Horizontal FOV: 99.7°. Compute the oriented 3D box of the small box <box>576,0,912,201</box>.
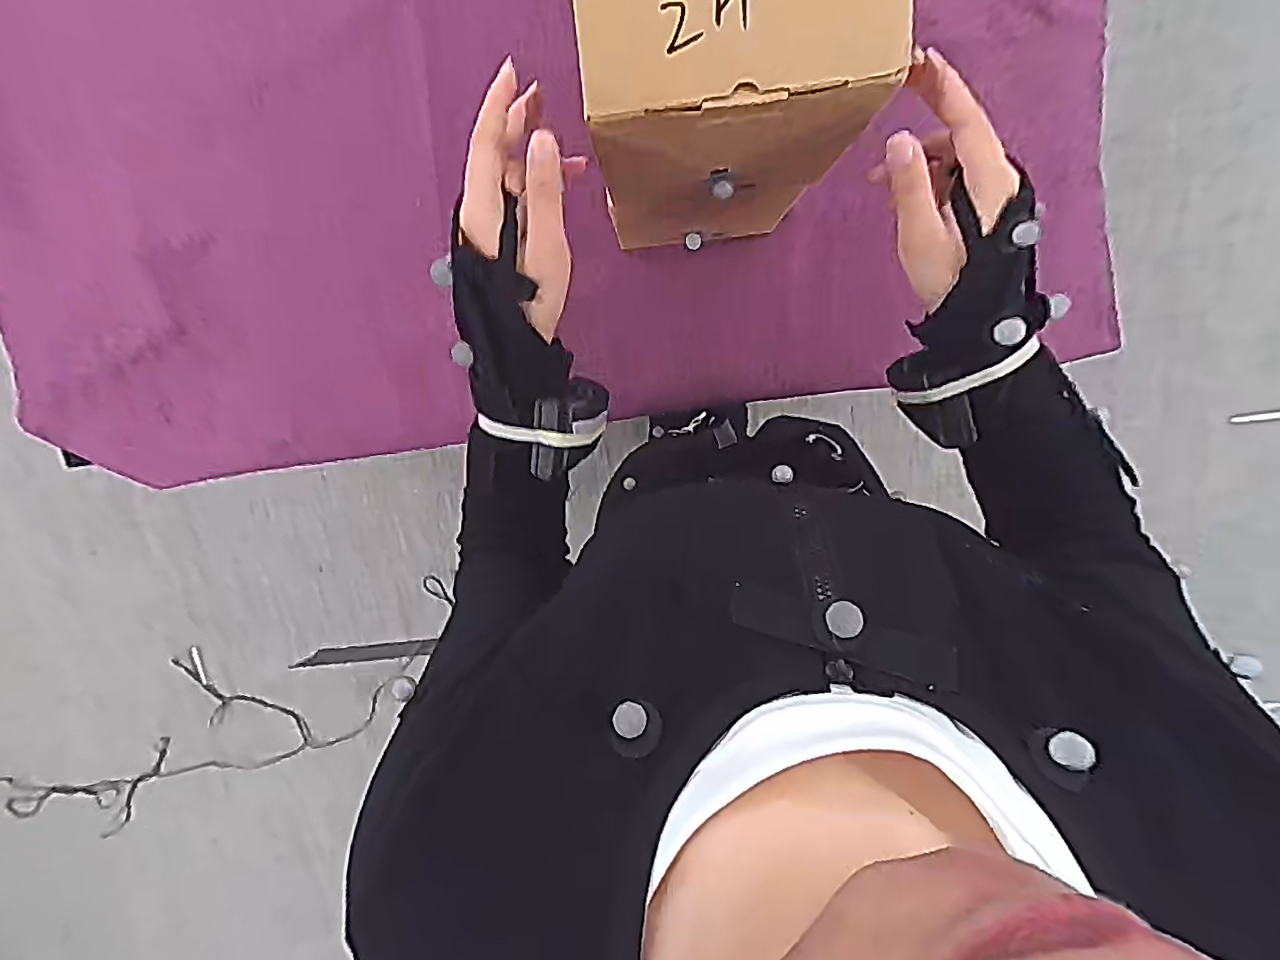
[{"bbox_3d":[0.049,-0.299,0.335,0.168,0.176,0.179,-5,101,4],"label":"small box"}]

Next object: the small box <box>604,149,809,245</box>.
[{"bbox_3d":[0.050,-0.333,0.497,0.168,0.176,0.179,-5,102,3],"label":"small box"}]
